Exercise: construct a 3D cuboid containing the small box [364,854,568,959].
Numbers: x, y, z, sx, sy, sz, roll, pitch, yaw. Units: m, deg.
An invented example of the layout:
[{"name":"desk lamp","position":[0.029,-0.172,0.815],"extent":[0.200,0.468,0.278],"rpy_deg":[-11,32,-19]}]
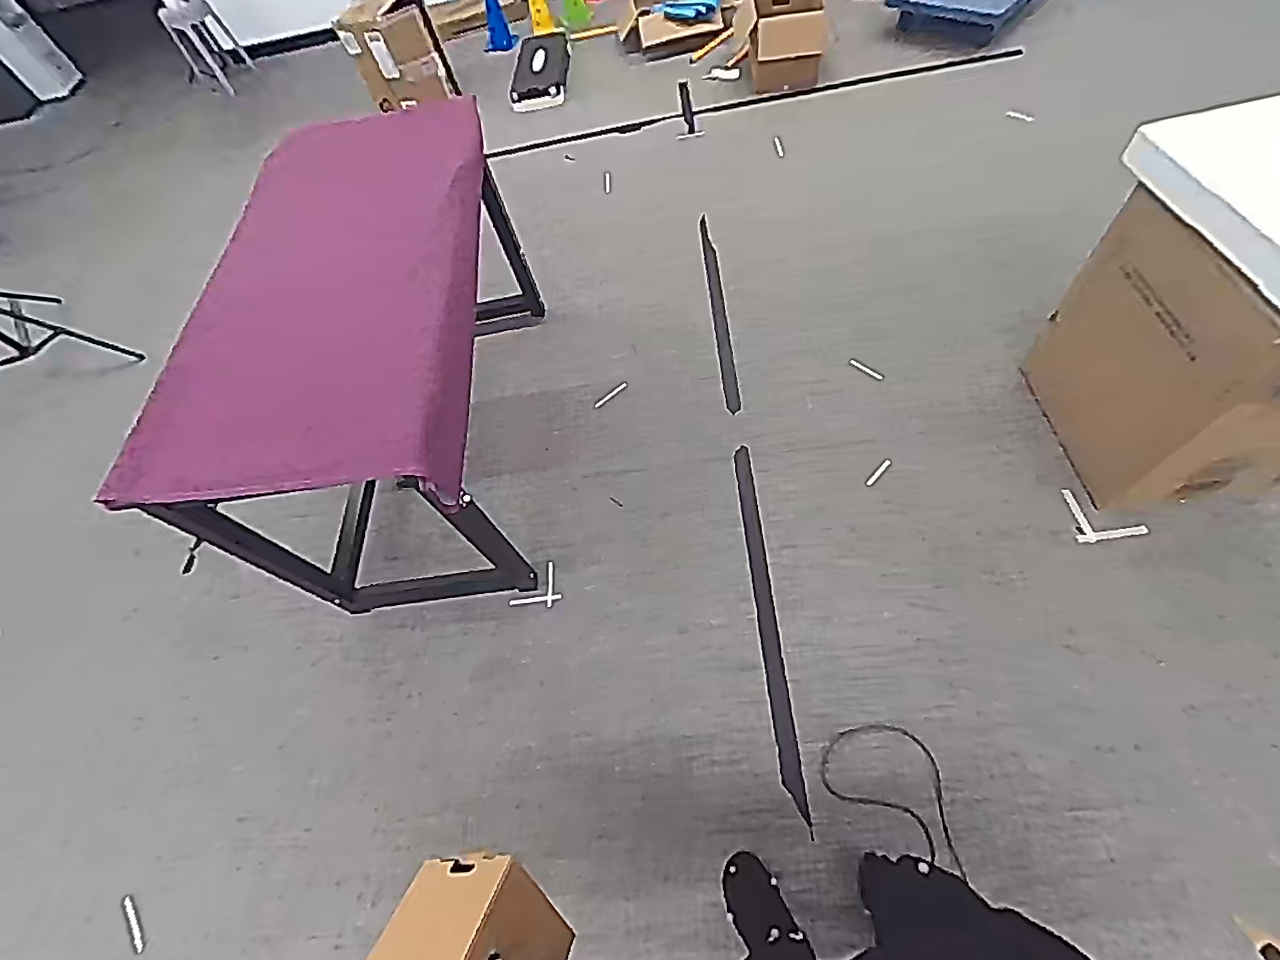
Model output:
[{"name":"small box","position":[-0.214,0.603,0.663],"extent":[0.168,0.176,0.179],"rpy_deg":[-20,17,24]}]
